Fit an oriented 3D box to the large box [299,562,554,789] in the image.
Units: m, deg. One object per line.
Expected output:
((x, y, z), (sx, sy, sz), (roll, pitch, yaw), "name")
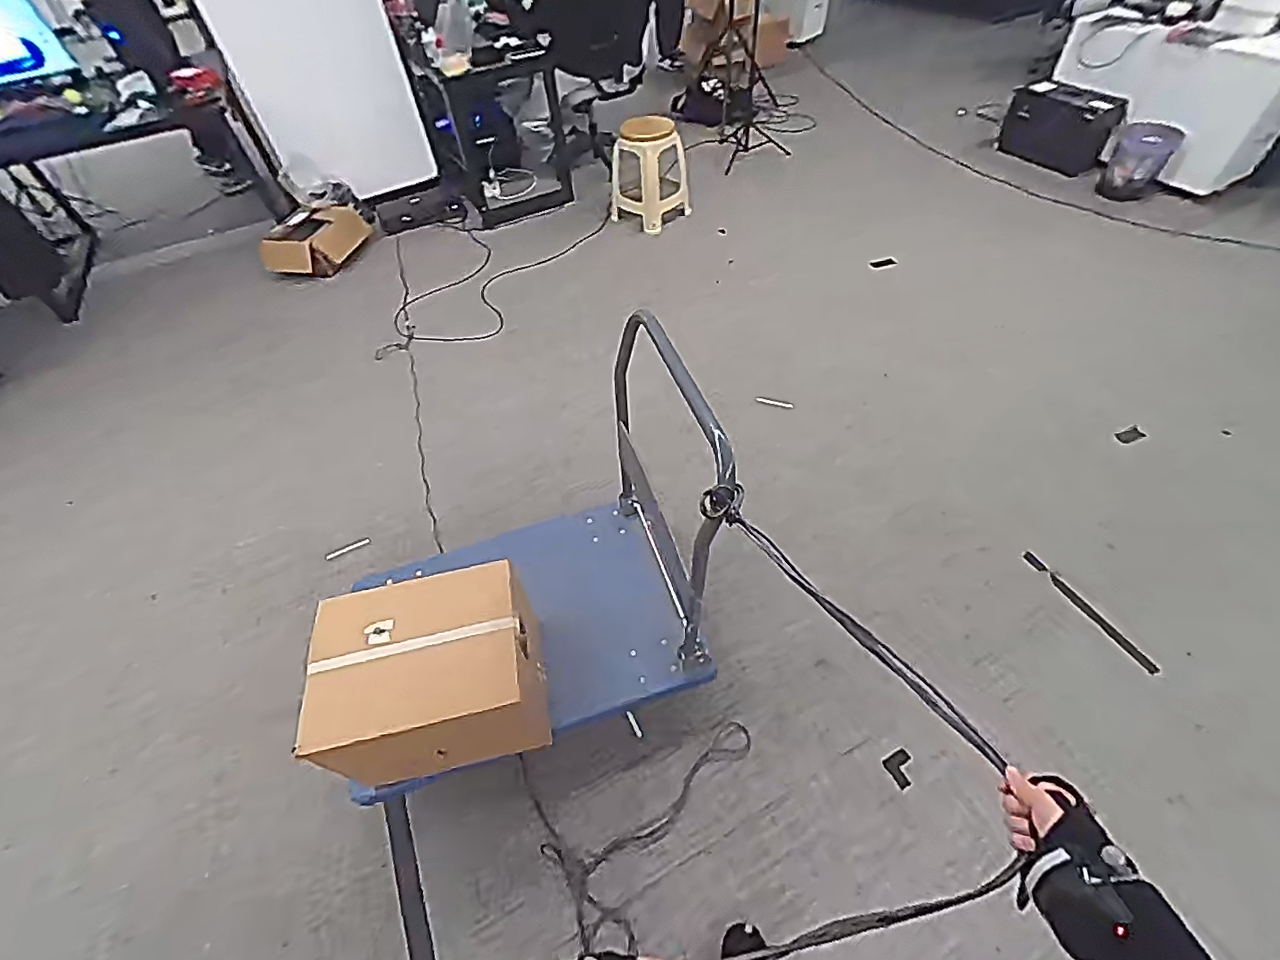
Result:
((-0.428, 0.427, 1.169), (0.408, 0.320, 0.320), (-13, 51, -5), "large box")
